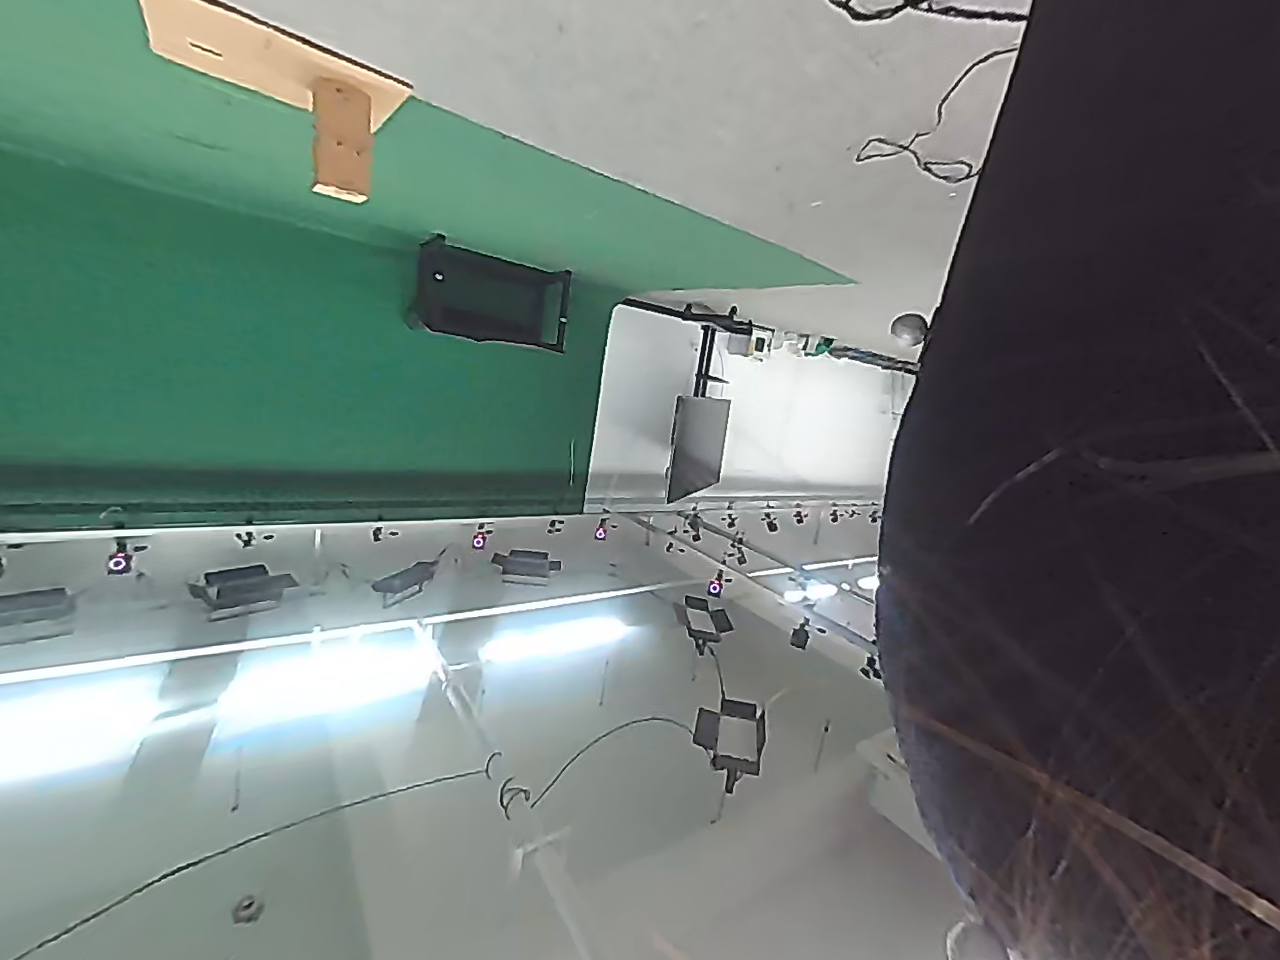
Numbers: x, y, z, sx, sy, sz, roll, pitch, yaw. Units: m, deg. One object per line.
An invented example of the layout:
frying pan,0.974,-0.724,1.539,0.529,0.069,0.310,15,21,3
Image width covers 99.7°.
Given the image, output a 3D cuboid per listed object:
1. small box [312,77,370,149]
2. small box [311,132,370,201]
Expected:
small box,-1.083,-1.314,1.959,0.168,0.176,0.179,-2,-165,-37
small box,-1.107,-1.155,1.994,0.168,0.176,0.179,-1,-164,-39
